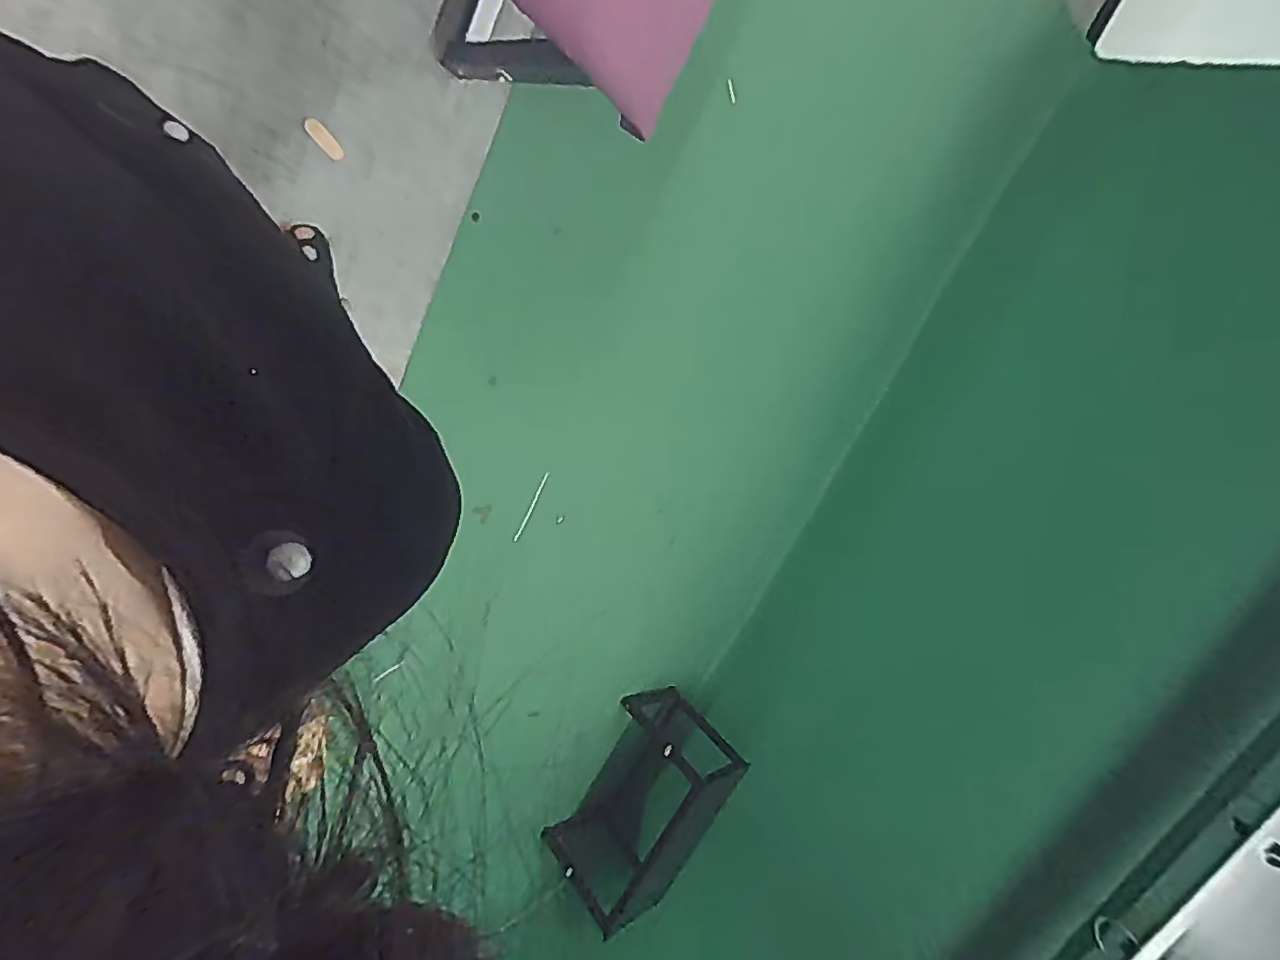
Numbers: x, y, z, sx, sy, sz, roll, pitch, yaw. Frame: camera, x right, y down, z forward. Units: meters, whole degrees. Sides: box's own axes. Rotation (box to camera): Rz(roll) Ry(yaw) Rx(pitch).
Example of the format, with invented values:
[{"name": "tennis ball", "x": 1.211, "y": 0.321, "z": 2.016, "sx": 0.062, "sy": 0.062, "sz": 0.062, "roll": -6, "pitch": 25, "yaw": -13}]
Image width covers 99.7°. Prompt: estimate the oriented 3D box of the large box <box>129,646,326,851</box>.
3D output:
[{"name": "large box", "x": -1.193, "y": 0.752, "z": 1.580, "sx": 0.408, "sy": 0.320, "sz": 0.320, "roll": -8, "pitch": 125, "yaw": -45}]
